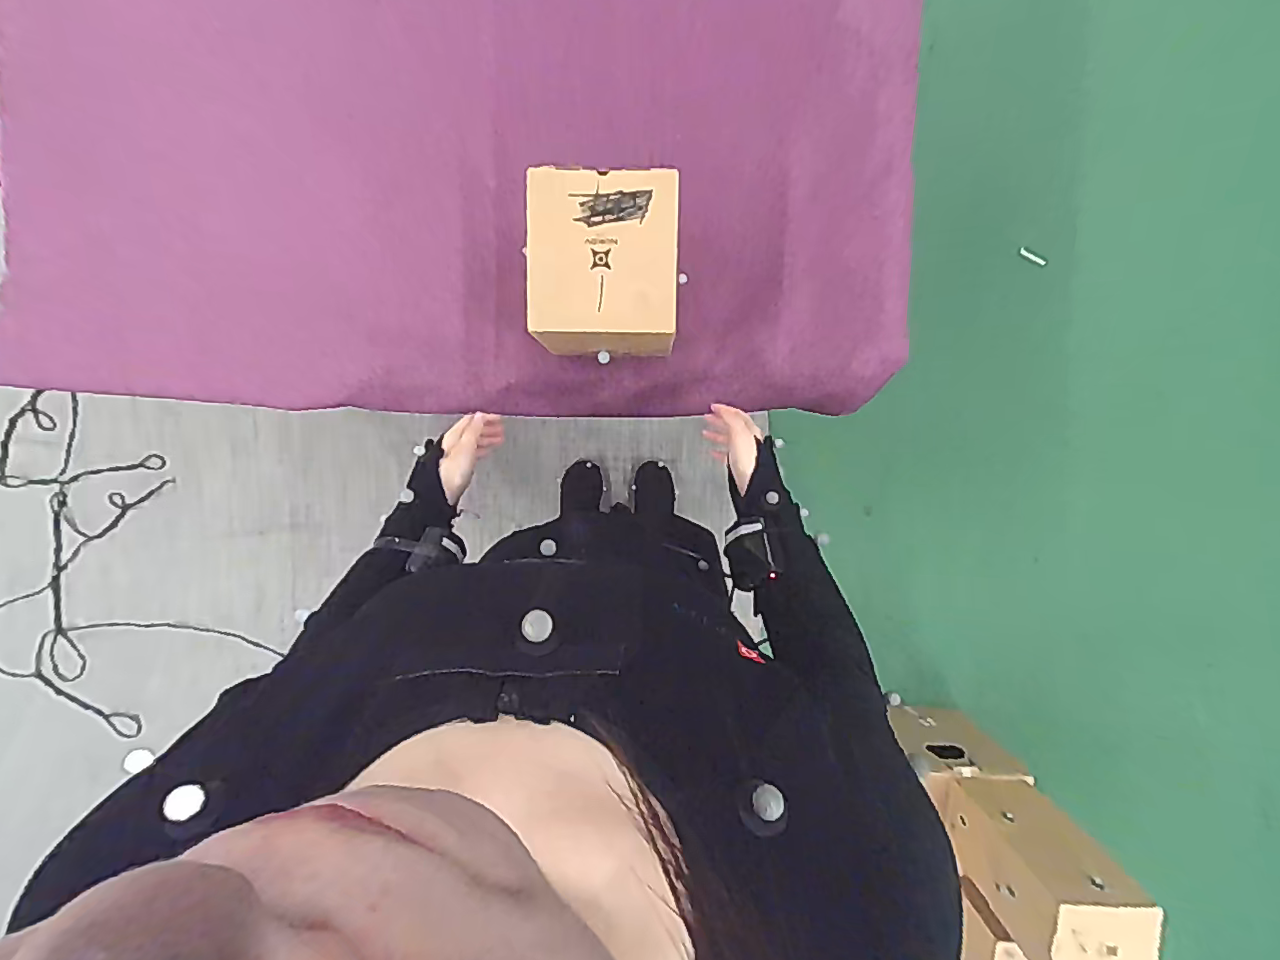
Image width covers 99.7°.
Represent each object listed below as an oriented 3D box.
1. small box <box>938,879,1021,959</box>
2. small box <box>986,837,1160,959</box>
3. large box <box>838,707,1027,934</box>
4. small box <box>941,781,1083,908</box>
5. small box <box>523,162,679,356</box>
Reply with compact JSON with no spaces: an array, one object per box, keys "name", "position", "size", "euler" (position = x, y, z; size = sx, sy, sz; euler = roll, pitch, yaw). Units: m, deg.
[{"name":"small box","position":[0.774,1.016,1.165],"size":[0.168,0.176,0.179],"euler":[8,94,0]},{"name":"small box","position":[0.775,0.785,0.984],"size":[0.179,0.176,0.168],"euler":[2,95,1]},{"name":"large box","position":[0.728,0.851,1.398],"size":[0.320,0.320,0.408],"euler":[3,95,1]},{"name":"small box","position":[0.779,0.769,1.148],"size":[0.179,0.176,0.168],"euler":[3,95,1]},{"name":"small box","position":[-0.042,-0.254,0.656],"size":[0.168,0.176,0.179],"euler":[1,95,1]}]
